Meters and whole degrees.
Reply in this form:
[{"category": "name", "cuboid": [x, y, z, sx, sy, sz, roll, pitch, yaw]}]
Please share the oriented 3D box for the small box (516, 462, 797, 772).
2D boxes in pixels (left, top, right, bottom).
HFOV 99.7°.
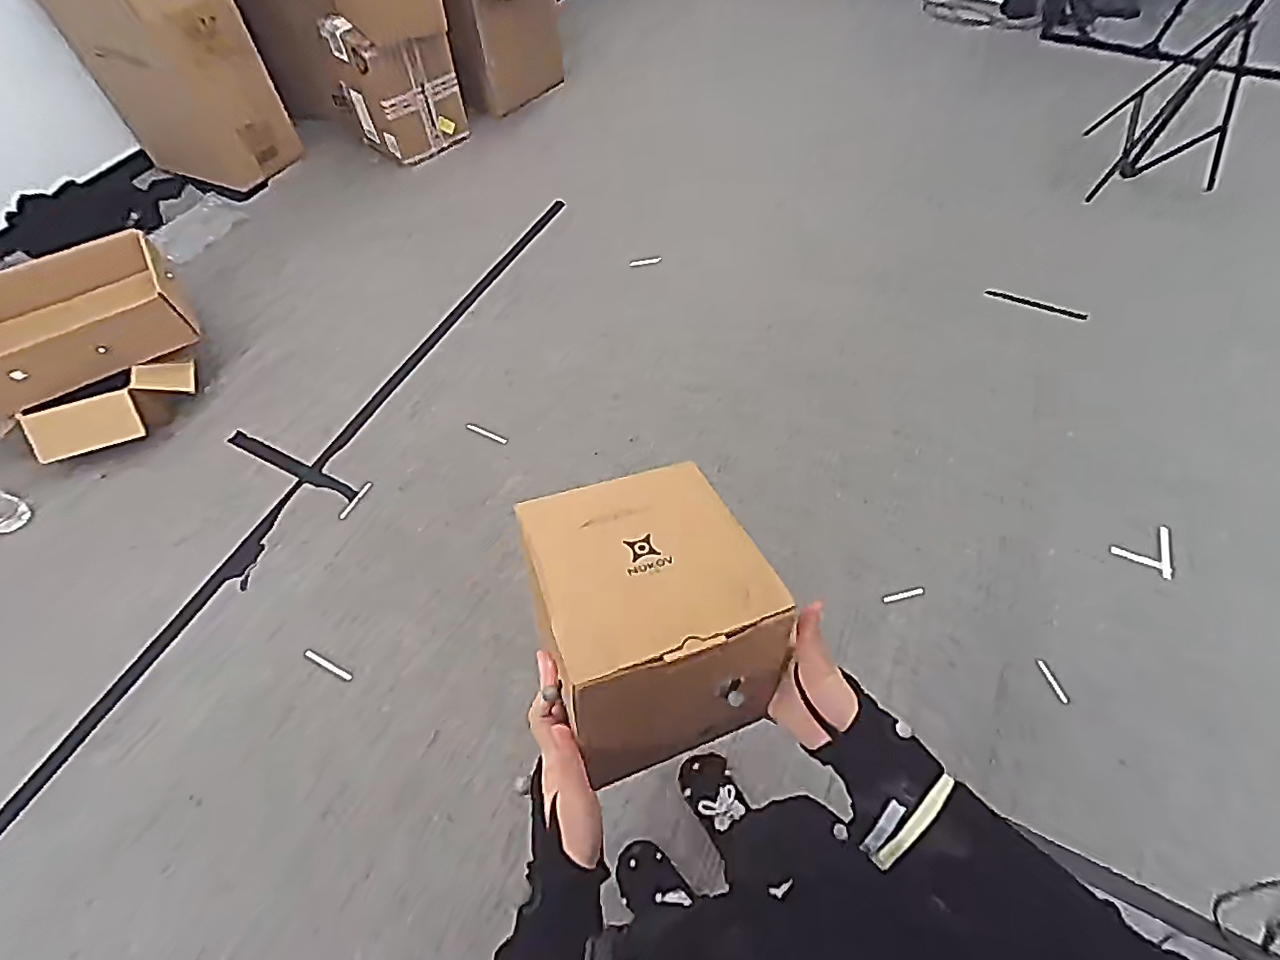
[{"category": "small box", "cuboid": [0.004, 0.116, 0.458, 0.168, 0.176, 0.179, -14, 43, -17]}]
